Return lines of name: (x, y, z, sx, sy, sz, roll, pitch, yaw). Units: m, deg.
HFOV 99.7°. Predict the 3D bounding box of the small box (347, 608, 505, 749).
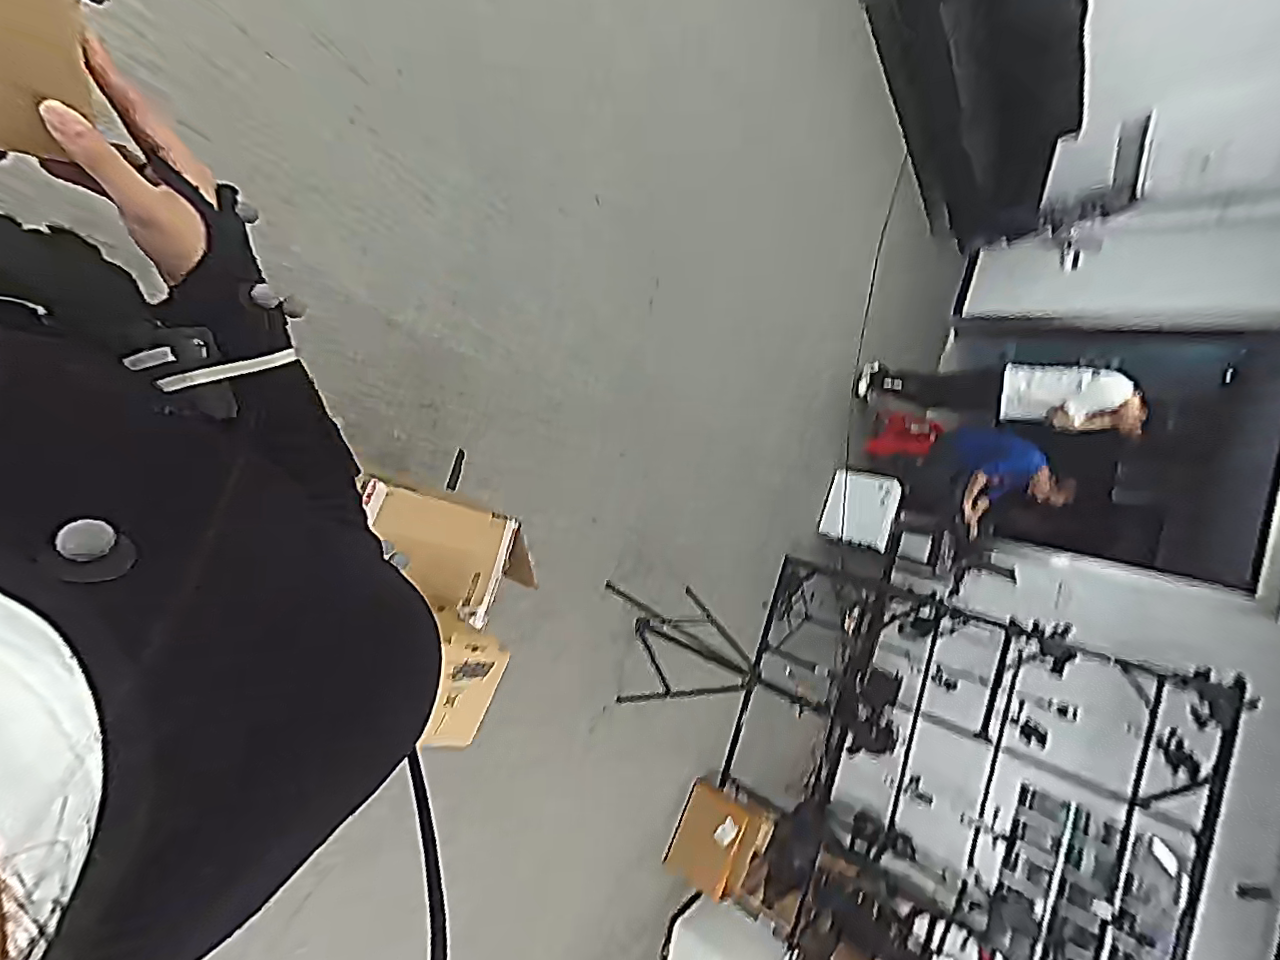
small box: (-0.379, 0.344, 0.950, 0.168, 0.176, 0.179, 33, 79, -48)
